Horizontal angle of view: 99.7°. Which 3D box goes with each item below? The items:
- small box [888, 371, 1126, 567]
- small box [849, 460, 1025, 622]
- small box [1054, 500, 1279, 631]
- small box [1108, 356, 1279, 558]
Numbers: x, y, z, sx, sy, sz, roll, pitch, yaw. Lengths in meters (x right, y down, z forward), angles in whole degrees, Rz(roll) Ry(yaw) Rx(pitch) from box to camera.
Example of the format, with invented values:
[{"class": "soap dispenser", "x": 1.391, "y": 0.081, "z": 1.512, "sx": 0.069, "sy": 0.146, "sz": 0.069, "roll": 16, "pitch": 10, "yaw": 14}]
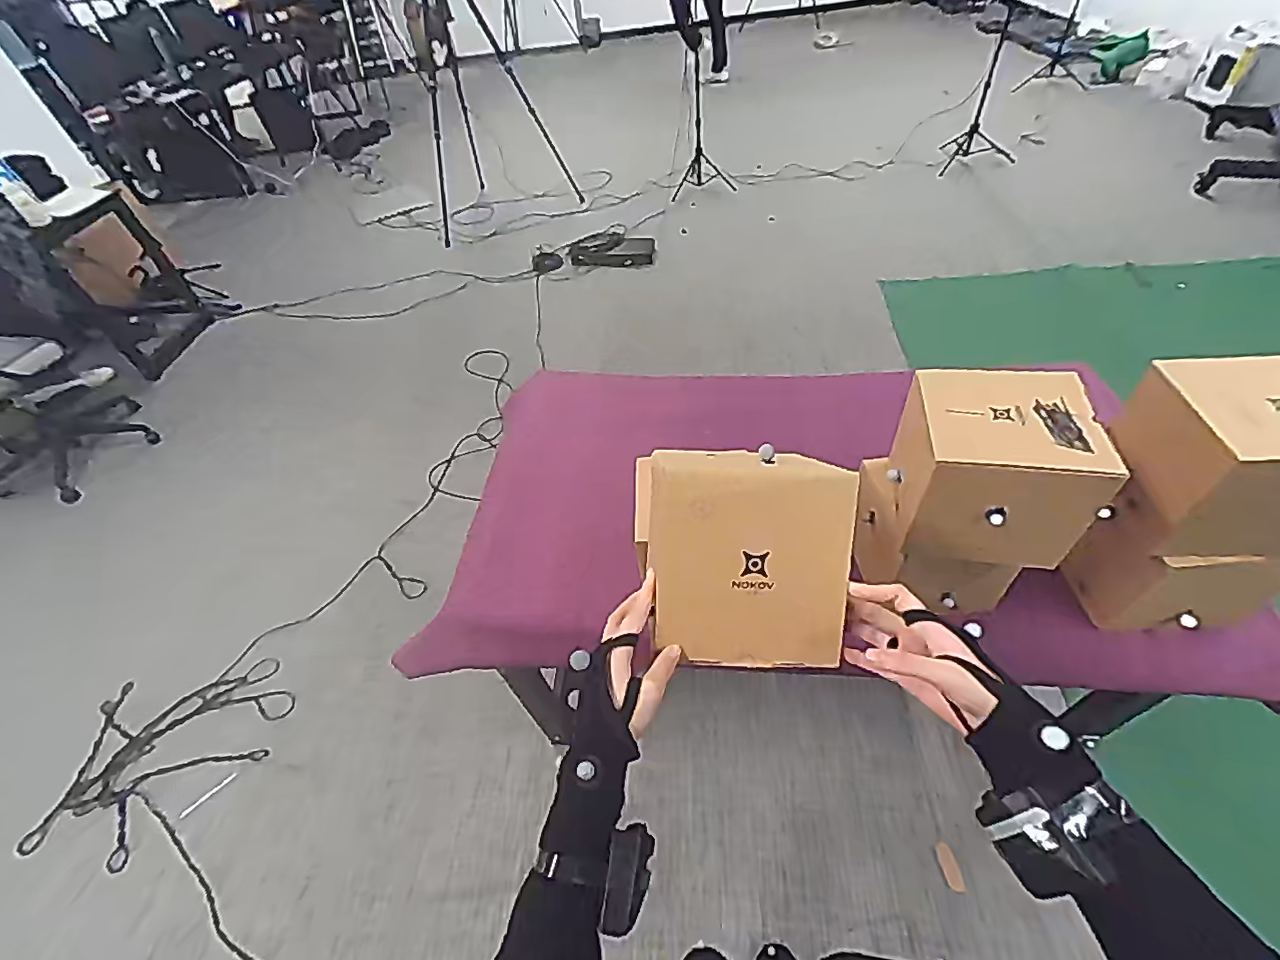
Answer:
[{"class": "small box", "x": 0.415, "y": -0.012, "z": 0.651, "sx": 0.179, "sy": 0.176, "sz": 0.168, "roll": 4, "pitch": 47, "yaw": 14}, {"class": "small box", "x": 0.420, "y": 0.083, "z": 0.788, "sx": 0.168, "sy": 0.176, "sz": 0.179, "roll": -7, "pitch": 47, "yaw": 3}, {"class": "small box", "x": 0.711, "y": 0.092, "z": 0.733, "sx": 0.179, "sy": 0.176, "sz": 0.168, "roll": -4, "pitch": 47, "yaw": 5}, {"class": "small box", "x": 0.681, "y": -0.023, "z": 0.619, "sx": 0.179, "sy": 0.176, "sz": 0.168, "roll": 0, "pitch": 48, "yaw": 10}]
